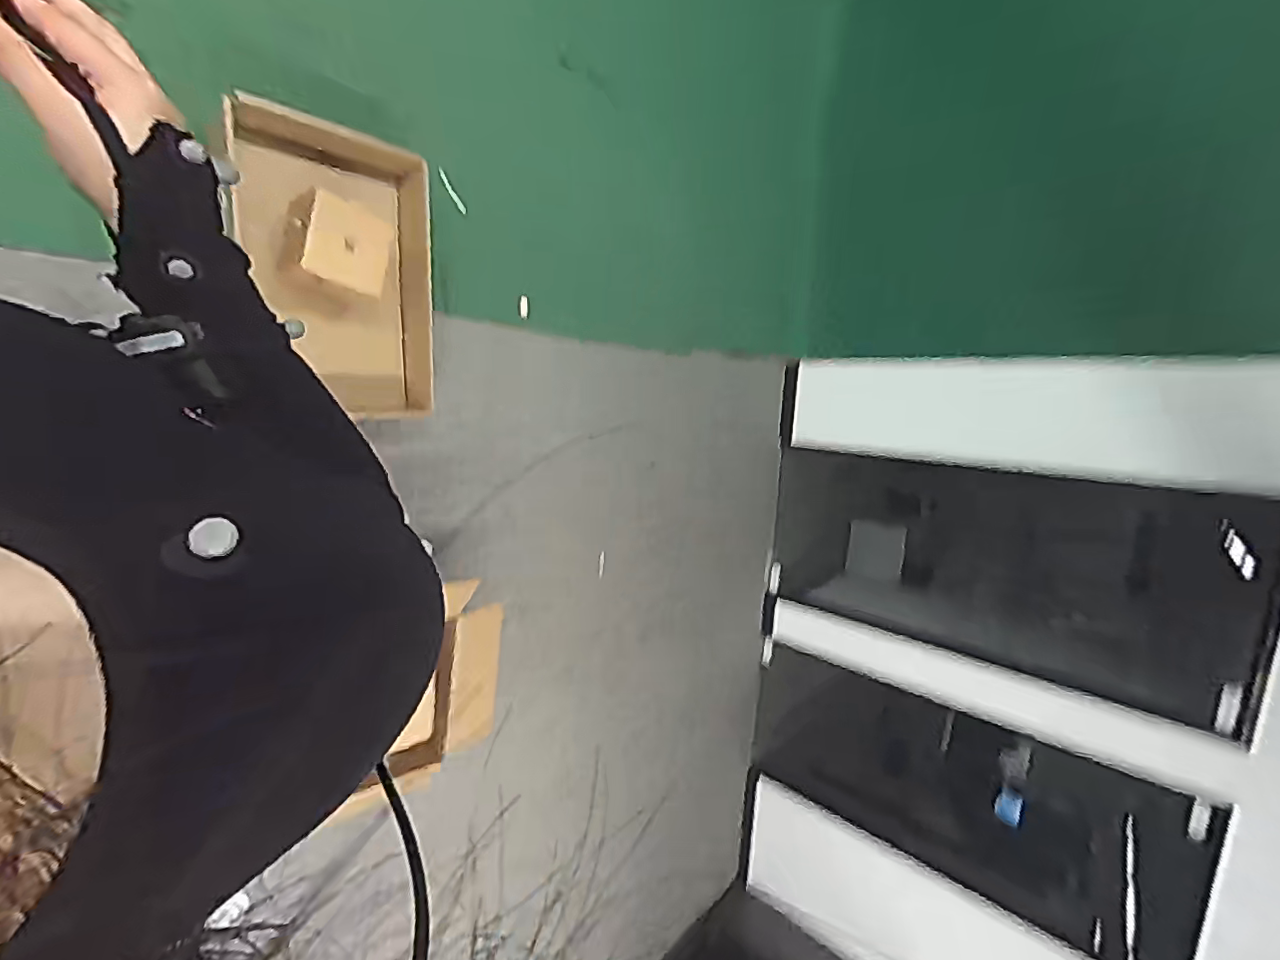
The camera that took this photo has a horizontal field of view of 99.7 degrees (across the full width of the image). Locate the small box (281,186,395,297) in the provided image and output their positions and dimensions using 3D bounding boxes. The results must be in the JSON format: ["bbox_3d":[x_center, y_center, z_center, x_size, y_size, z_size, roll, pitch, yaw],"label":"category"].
[{"bbox_3d":[-0.693,-0.530,1.233,0.168,0.176,0.179,11,91,-50],"label":"small box"}]
